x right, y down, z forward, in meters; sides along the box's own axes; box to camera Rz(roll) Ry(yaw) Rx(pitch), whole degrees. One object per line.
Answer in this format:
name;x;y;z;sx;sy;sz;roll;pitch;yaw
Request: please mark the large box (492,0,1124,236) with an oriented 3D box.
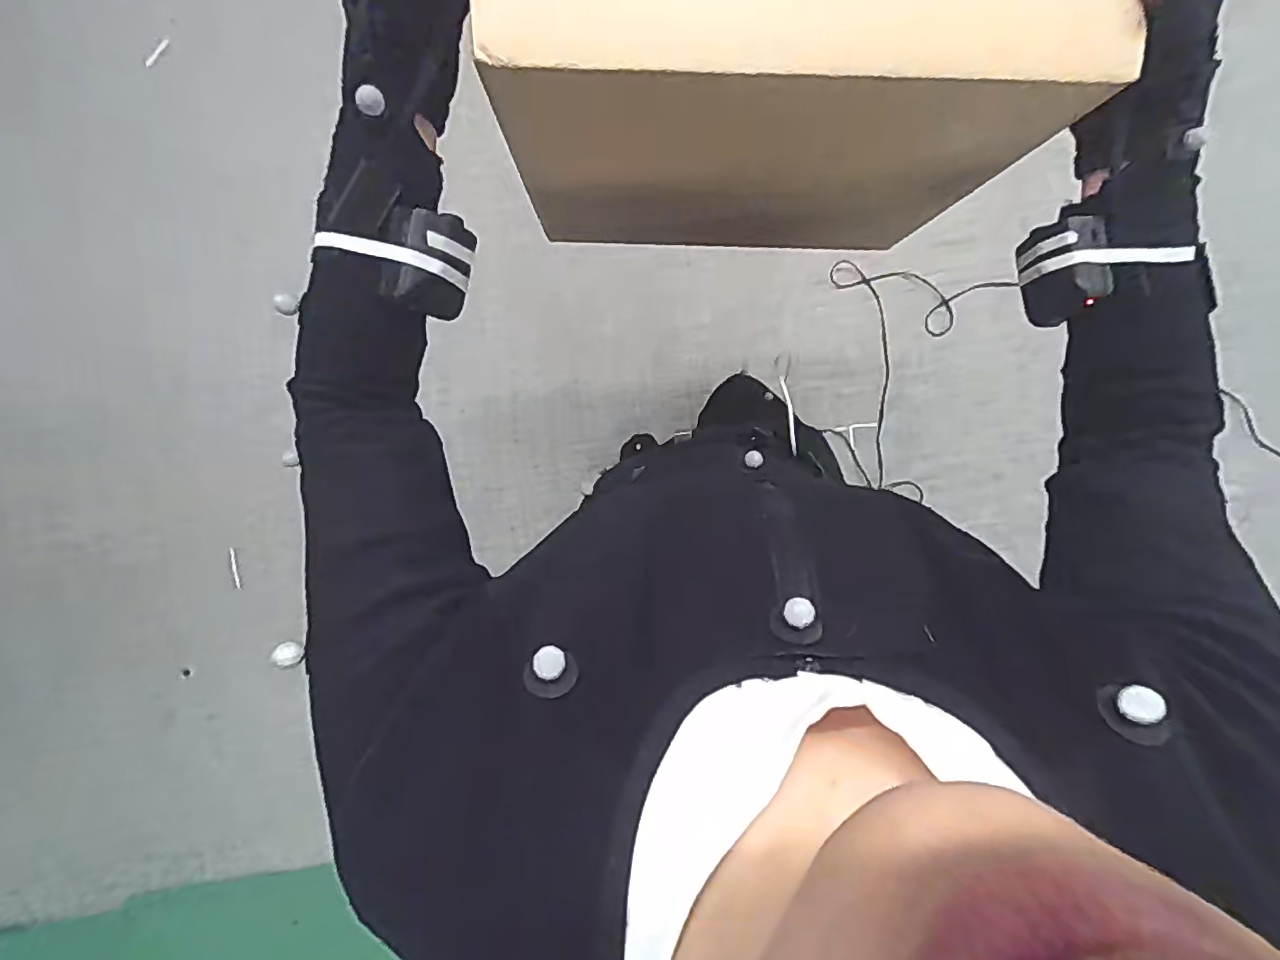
large box;0.100;-0.424;0.471;0.408;0.320;0.320;0;96;-3
